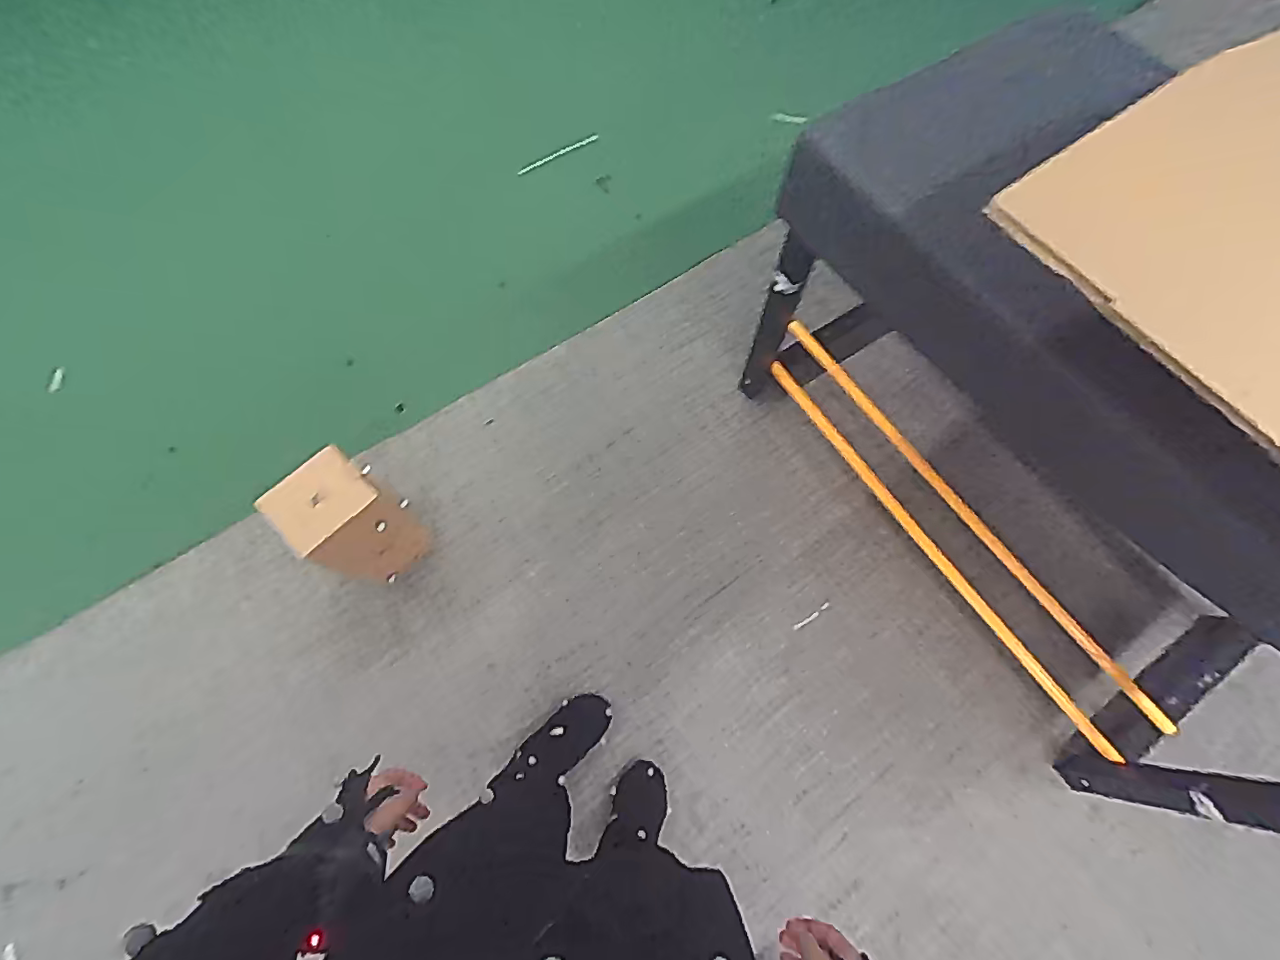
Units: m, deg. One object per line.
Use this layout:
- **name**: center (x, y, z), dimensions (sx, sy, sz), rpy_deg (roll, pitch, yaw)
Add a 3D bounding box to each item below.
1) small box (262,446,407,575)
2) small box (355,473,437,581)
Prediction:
- **small box**: center (-0.611, 0.069, 1.113), dimensions (0.168, 0.176, 0.179), rpy_deg (41, 74, 16)
- **small box**: center (-0.611, 0.120, 1.268), dimensions (0.168, 0.176, 0.179), rpy_deg (-42, 73, -15)
